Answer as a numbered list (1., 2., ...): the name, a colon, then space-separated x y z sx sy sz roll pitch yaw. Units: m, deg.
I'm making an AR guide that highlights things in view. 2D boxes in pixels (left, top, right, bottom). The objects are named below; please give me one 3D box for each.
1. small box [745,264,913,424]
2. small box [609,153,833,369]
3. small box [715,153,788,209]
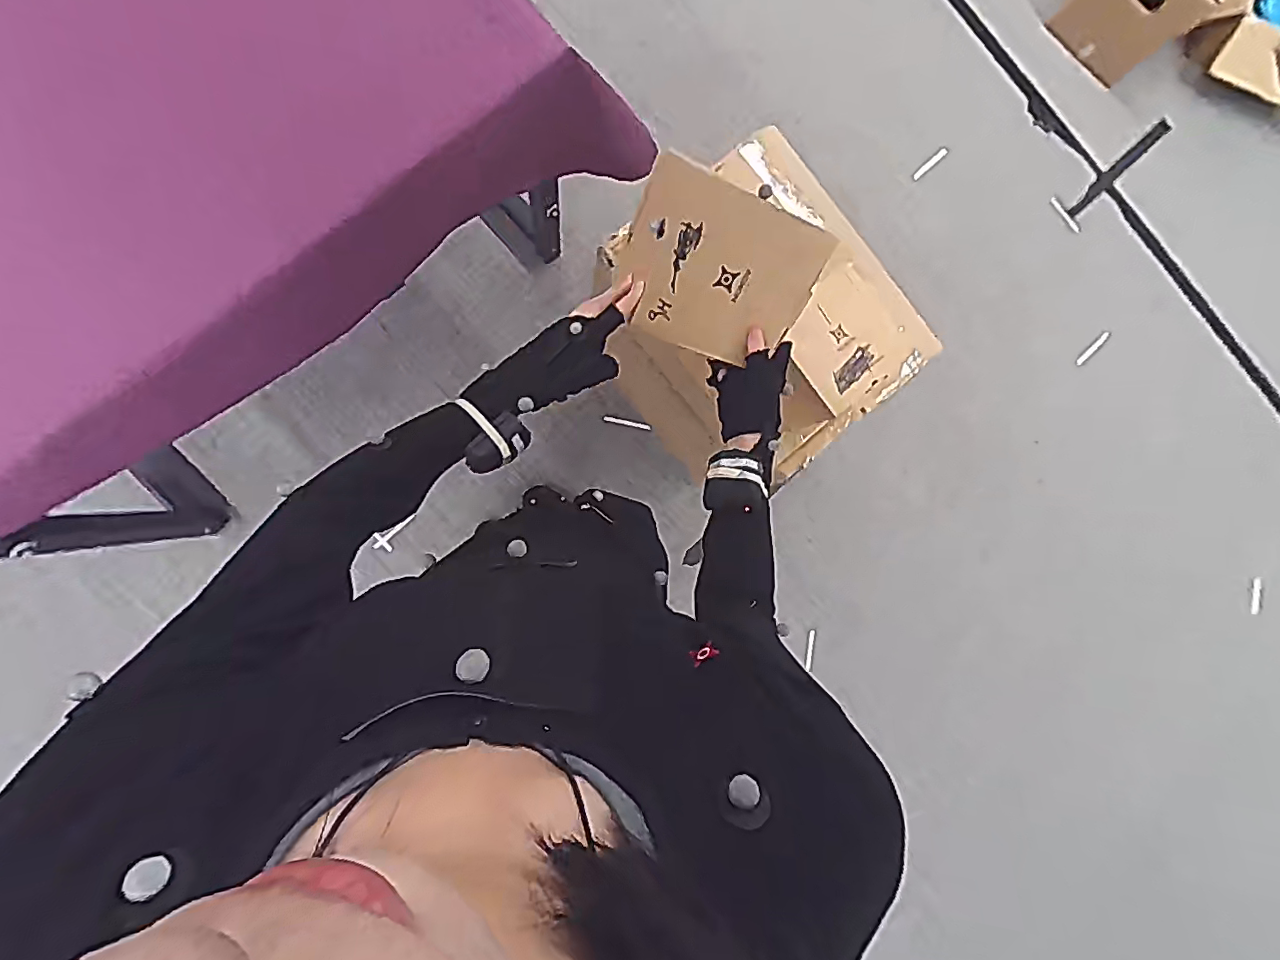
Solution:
1. small box: 0.290 -0.205 0.879 0.168 0.176 0.179 -38 91 -7
2. small box: 0.079 -0.258 0.631 0.179 0.176 0.168 13 121 -22
3. small box: 0.131 -0.361 0.864 0.168 0.176 0.179 -41 95 -6
